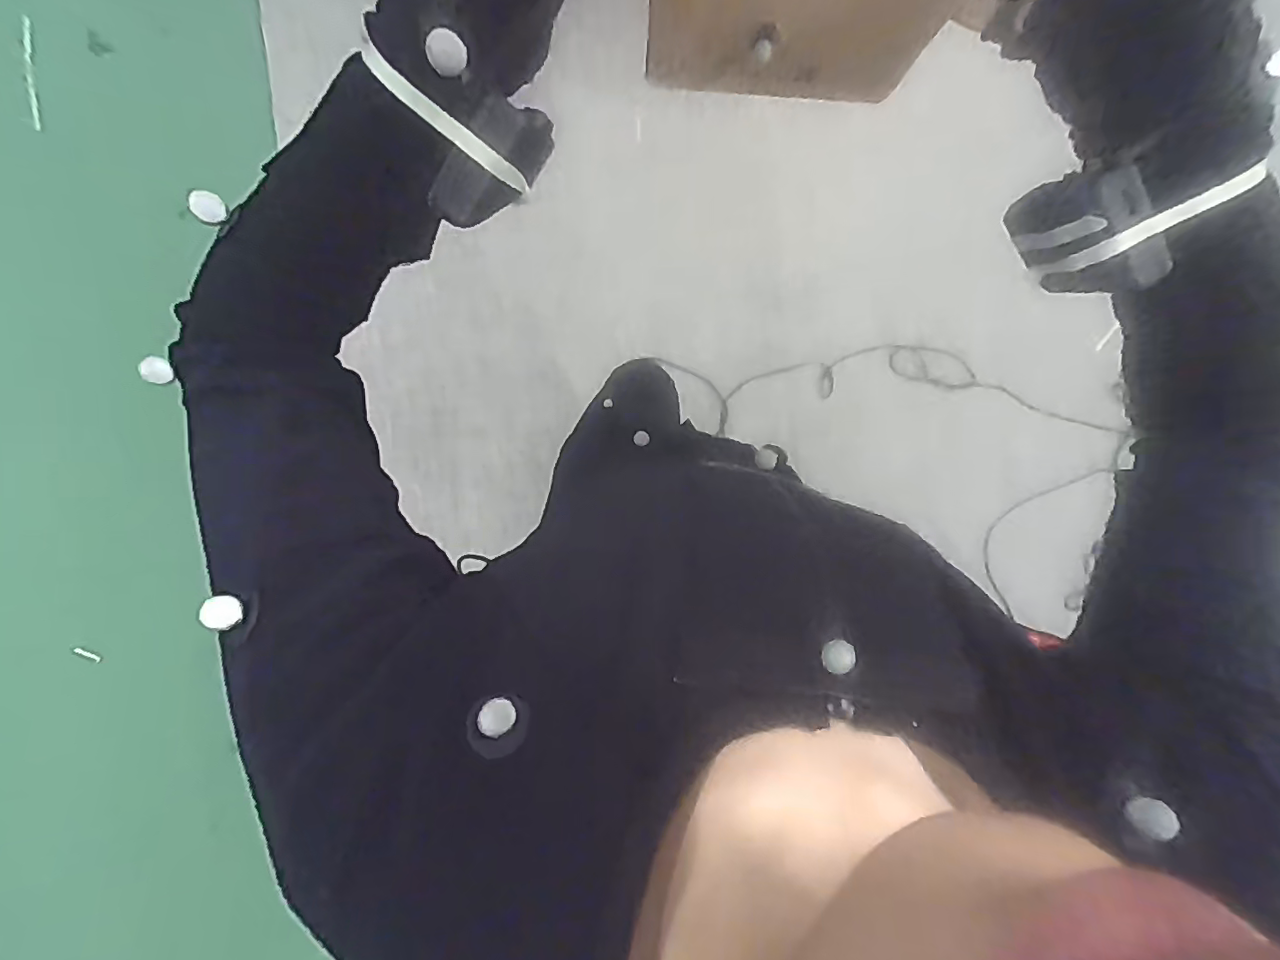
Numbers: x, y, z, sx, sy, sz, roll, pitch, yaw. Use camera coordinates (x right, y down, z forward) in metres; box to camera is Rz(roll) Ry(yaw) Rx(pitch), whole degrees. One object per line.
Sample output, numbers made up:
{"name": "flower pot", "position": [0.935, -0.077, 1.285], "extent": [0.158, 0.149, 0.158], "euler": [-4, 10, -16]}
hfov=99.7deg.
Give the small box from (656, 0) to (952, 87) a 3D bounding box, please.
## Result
{"name": "small box", "position": [0.096, -0.349, 0.277], "extent": [0.168, 0.176, 0.179], "euler": [3, 97, -1]}
